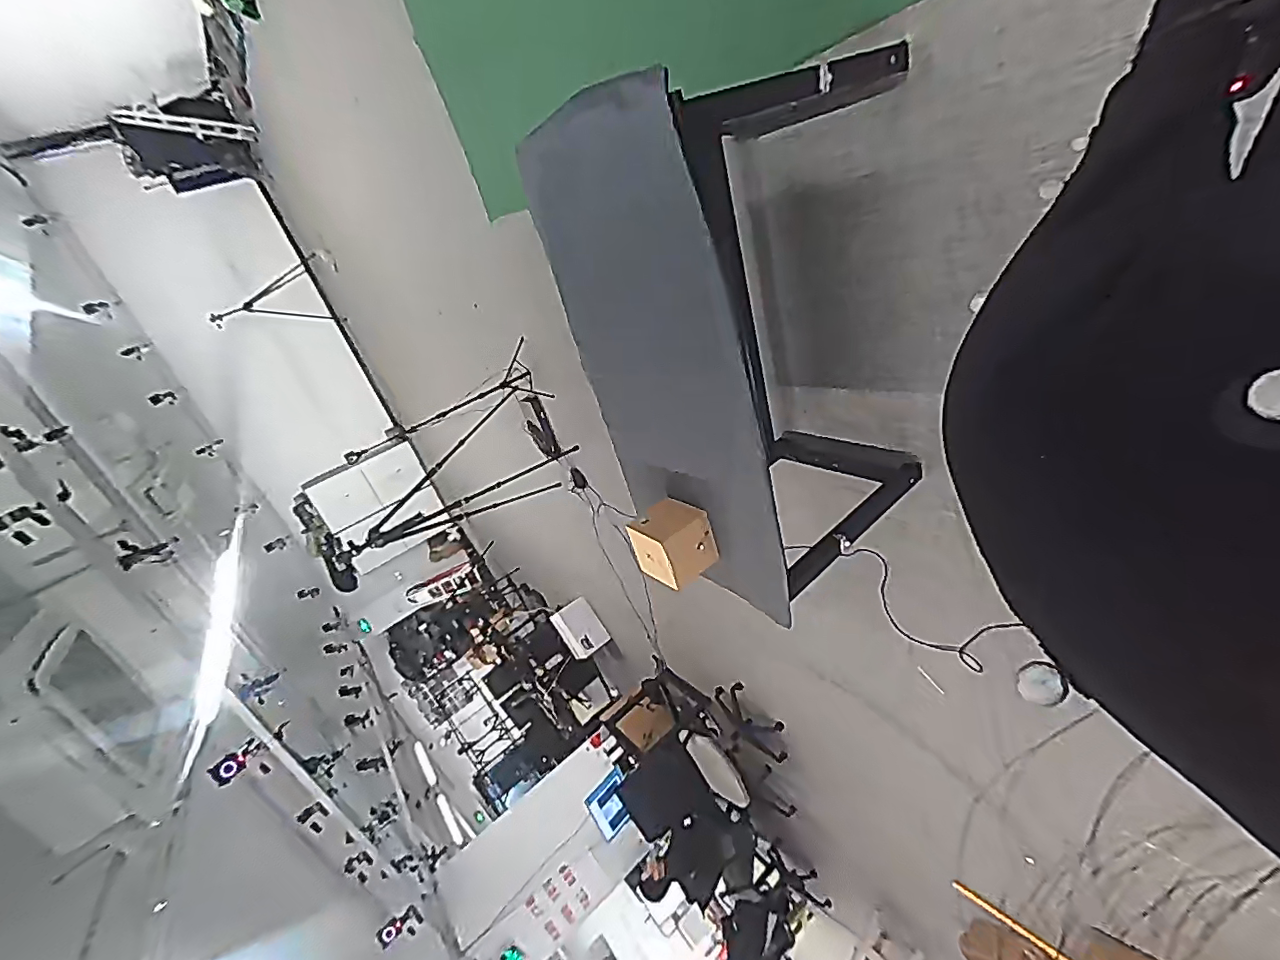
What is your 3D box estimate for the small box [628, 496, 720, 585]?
[{"bbox_3d":[0.098,0.164,1.539,0.179,0.176,0.168,19,135,52],"label":"small box"}]
